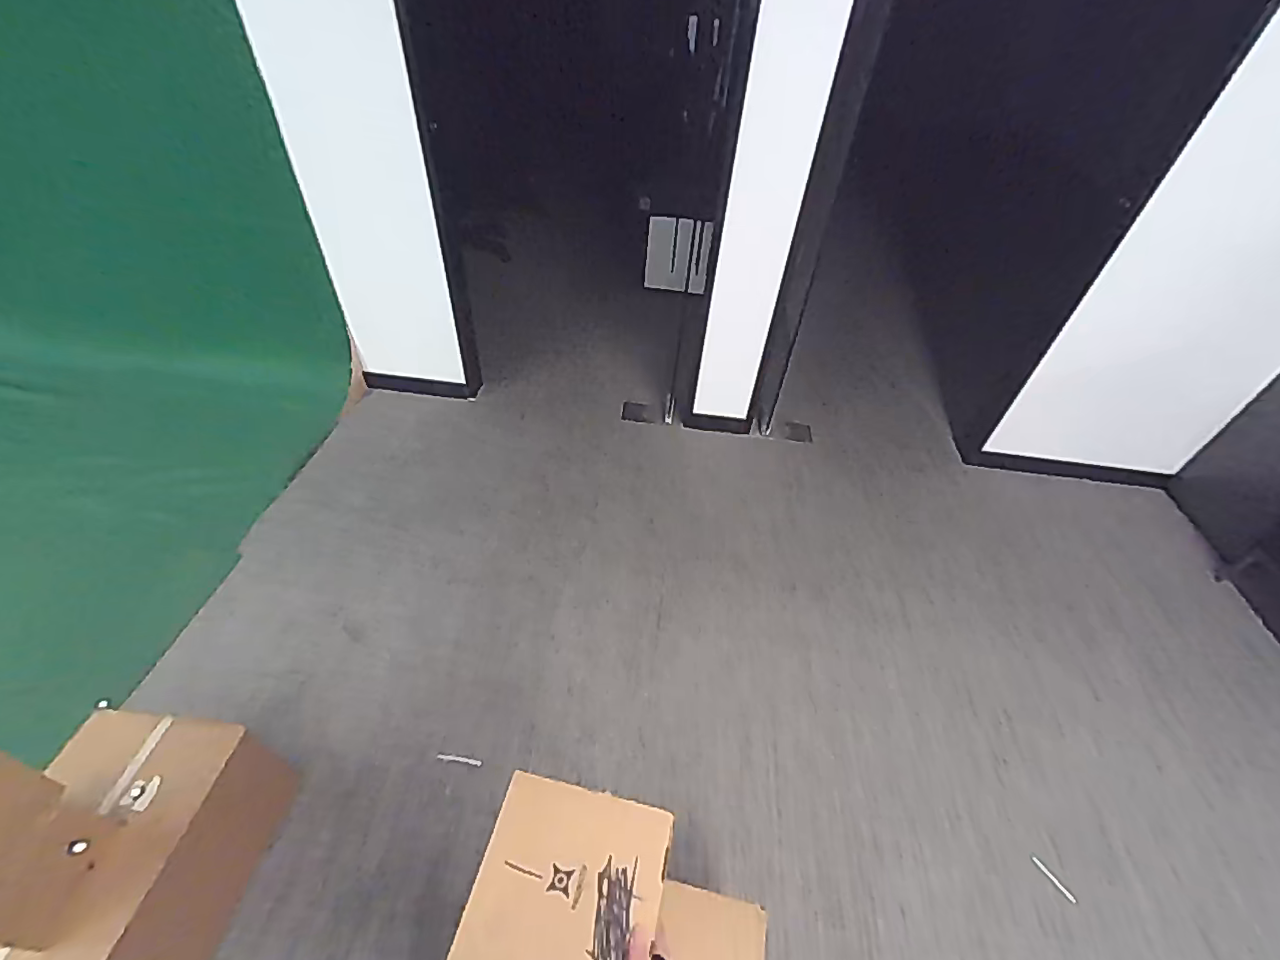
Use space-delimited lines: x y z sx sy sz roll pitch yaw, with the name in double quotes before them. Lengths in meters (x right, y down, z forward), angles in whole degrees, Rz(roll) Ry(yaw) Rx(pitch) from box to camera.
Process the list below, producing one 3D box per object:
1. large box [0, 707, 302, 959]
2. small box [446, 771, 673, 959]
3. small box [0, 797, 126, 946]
"large box" -0.956 0.717 1.043 0.320 0.320 0.408 7 43 1
"small box" -0.072 0.437 0.567 0.179 0.176 0.168 11 46 7
"small box" -0.964 0.588 0.824 0.179 0.176 0.168 6 43 1
